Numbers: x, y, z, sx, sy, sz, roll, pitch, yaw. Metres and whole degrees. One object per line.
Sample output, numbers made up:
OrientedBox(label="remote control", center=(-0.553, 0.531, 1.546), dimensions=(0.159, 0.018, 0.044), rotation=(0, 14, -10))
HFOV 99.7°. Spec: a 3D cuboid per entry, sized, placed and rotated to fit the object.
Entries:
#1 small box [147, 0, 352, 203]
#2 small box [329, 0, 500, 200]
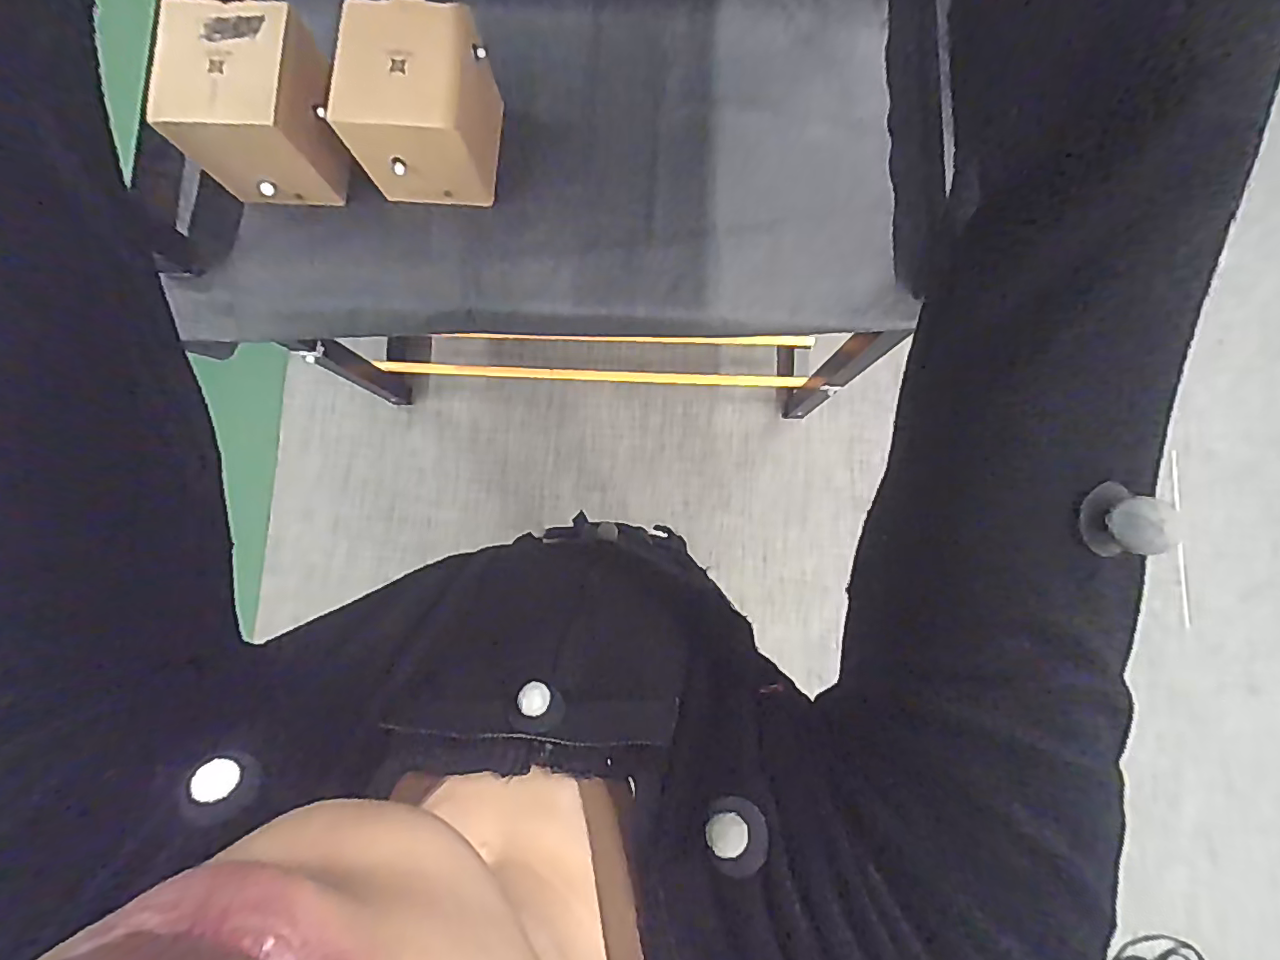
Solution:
OrientedBox(label="small box", center=(-0.532, -0.528, 0.766), dimensions=(0.168, 0.176, 0.179), rotation=(2, 84, 0))
OrientedBox(label="small box", center=(-0.305, -0.527, 0.767), dimensions=(0.168, 0.176, 0.179), rotation=(3, 83, 1))
